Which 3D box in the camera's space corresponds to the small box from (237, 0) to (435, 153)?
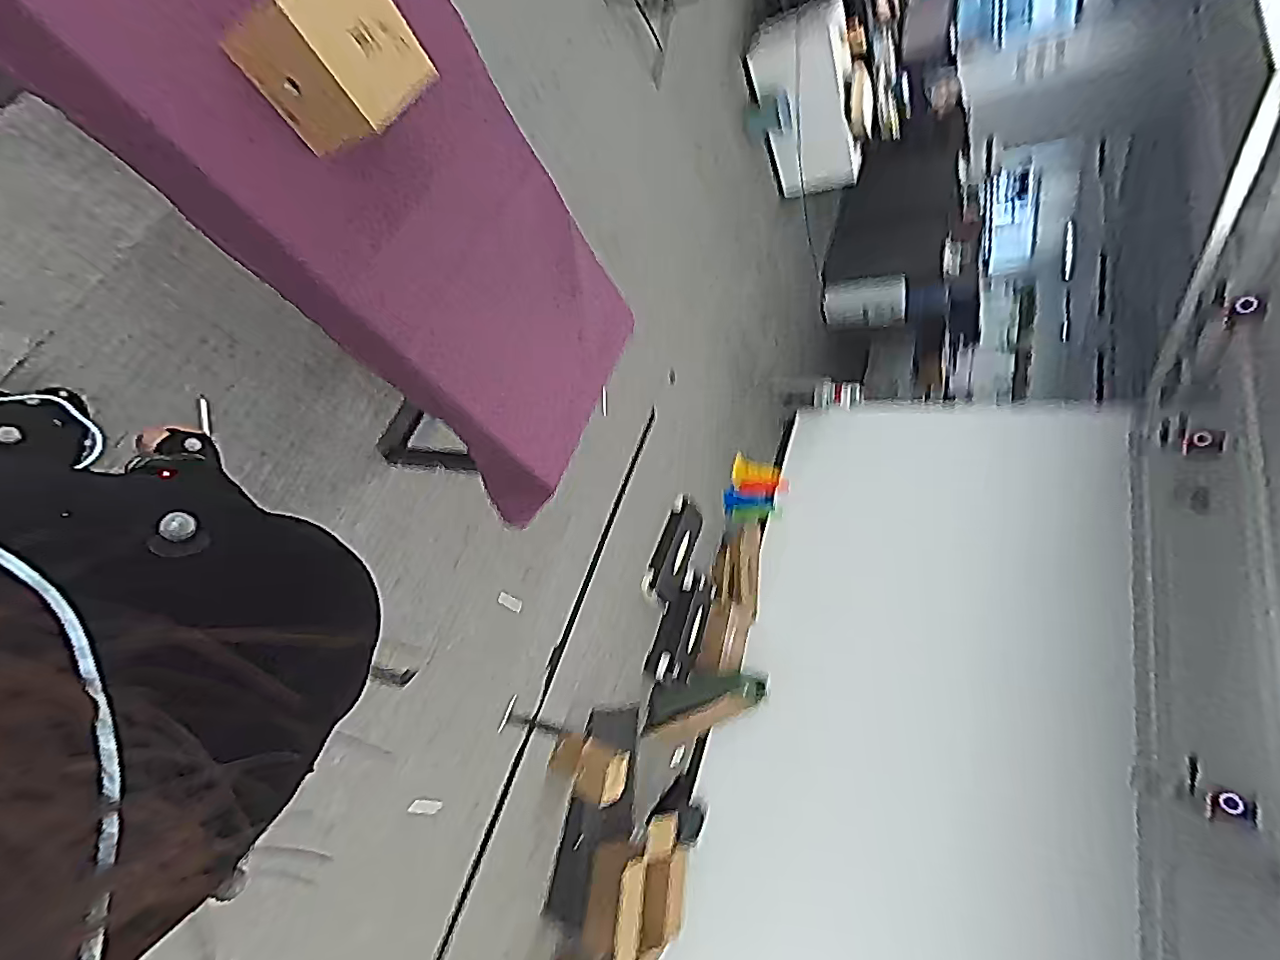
[{"bbox_3d":[-0.457,-0.630,0.812,0.168,0.176,0.179,54,51,-46],"label":"small box"}]
